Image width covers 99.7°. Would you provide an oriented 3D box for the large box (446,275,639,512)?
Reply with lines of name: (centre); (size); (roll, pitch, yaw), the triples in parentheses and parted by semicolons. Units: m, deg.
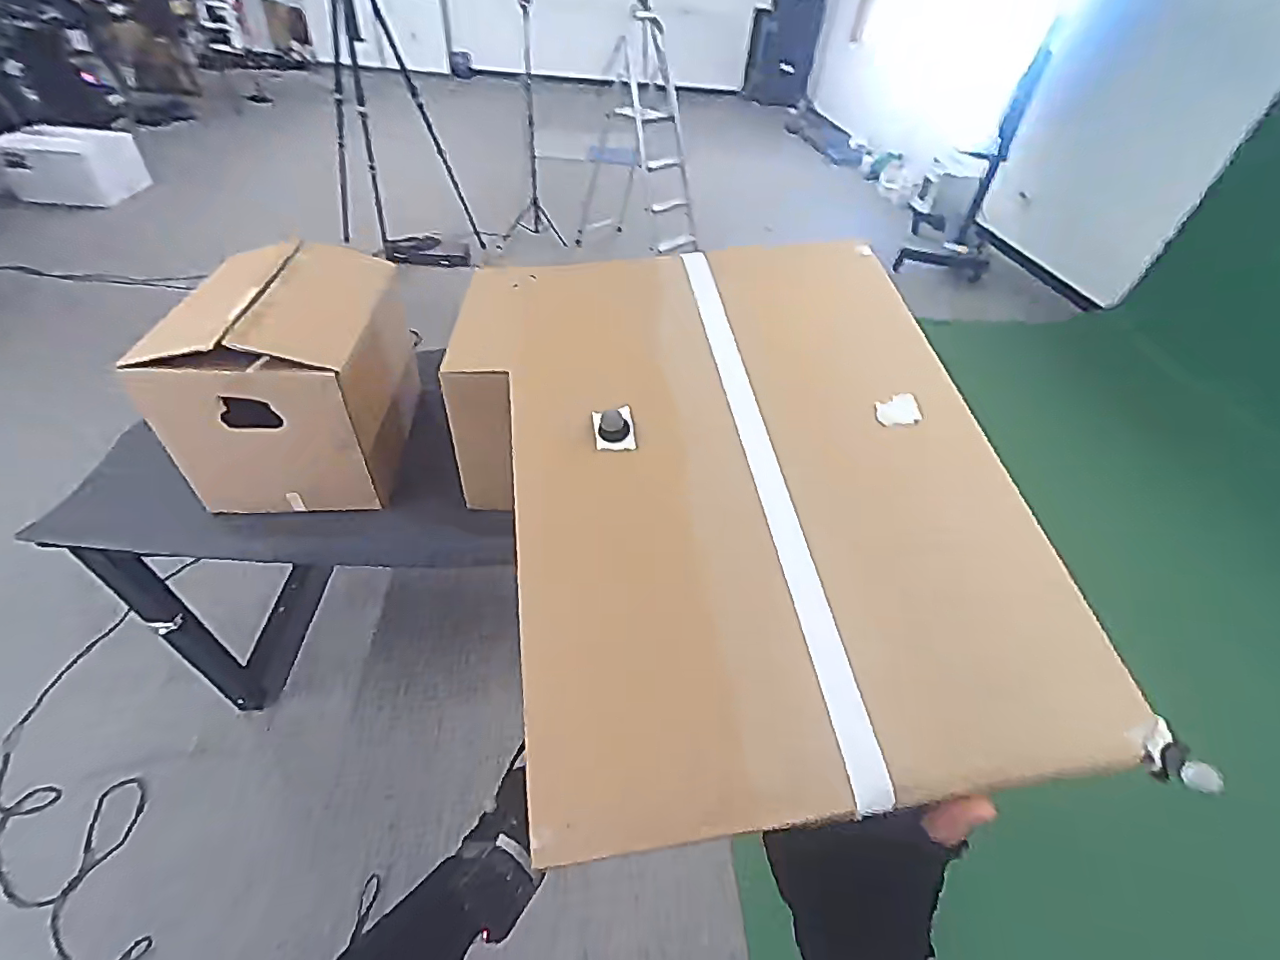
large box: (-0.181, -0.182, 1.102); (0.320, 0.320, 0.408); (0, 42, -6)
